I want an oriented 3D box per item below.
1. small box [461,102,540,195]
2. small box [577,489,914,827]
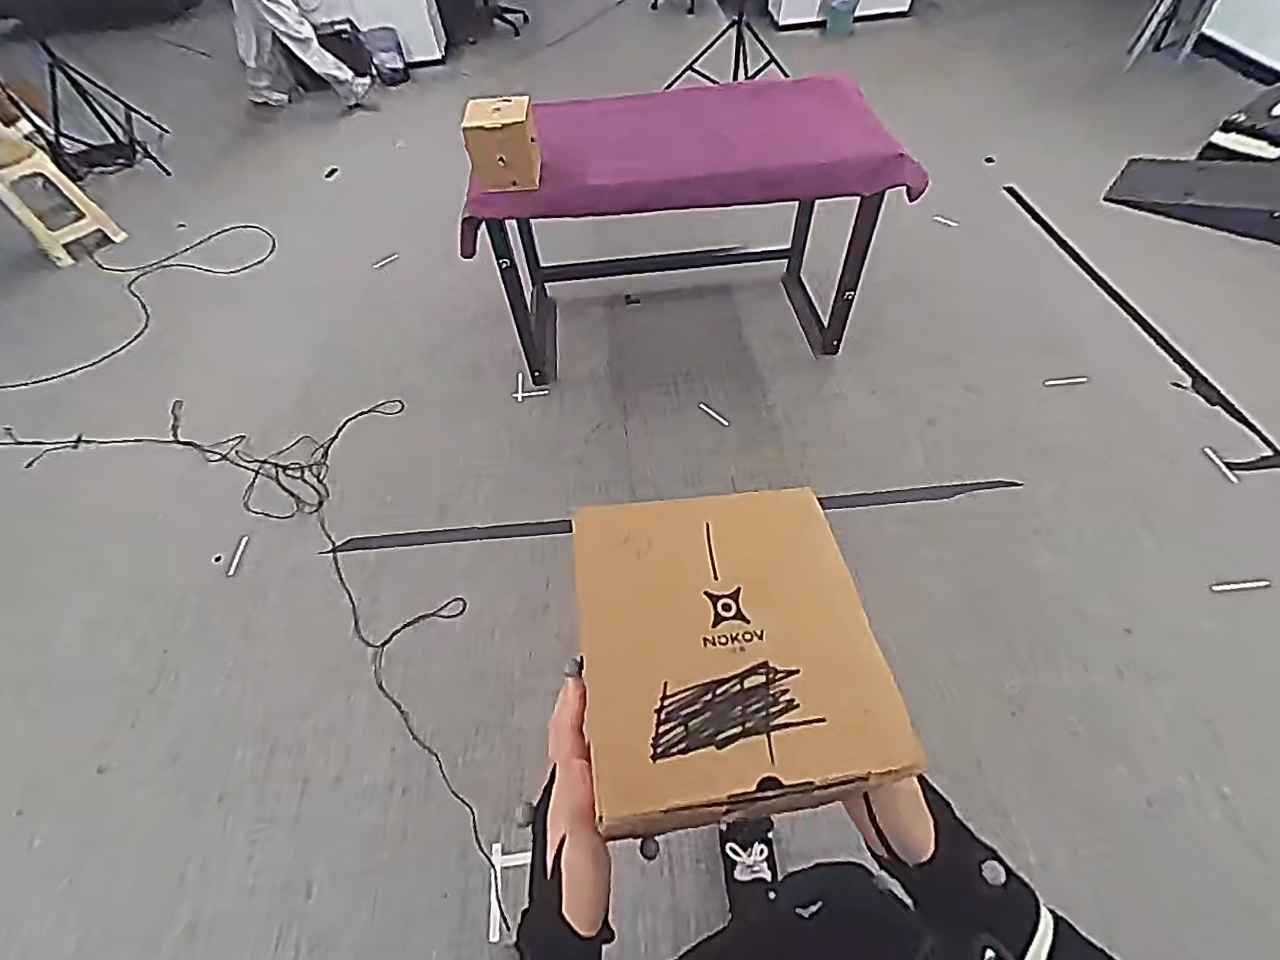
[{"bbox_3d":[-0.373,-0.901,1.481,0.168,0.176,0.179,-4,54,0],"label":"small box"},{"bbox_3d":[0.046,0.129,0.377,0.168,0.176,0.179,-4,53,-8],"label":"small box"}]
